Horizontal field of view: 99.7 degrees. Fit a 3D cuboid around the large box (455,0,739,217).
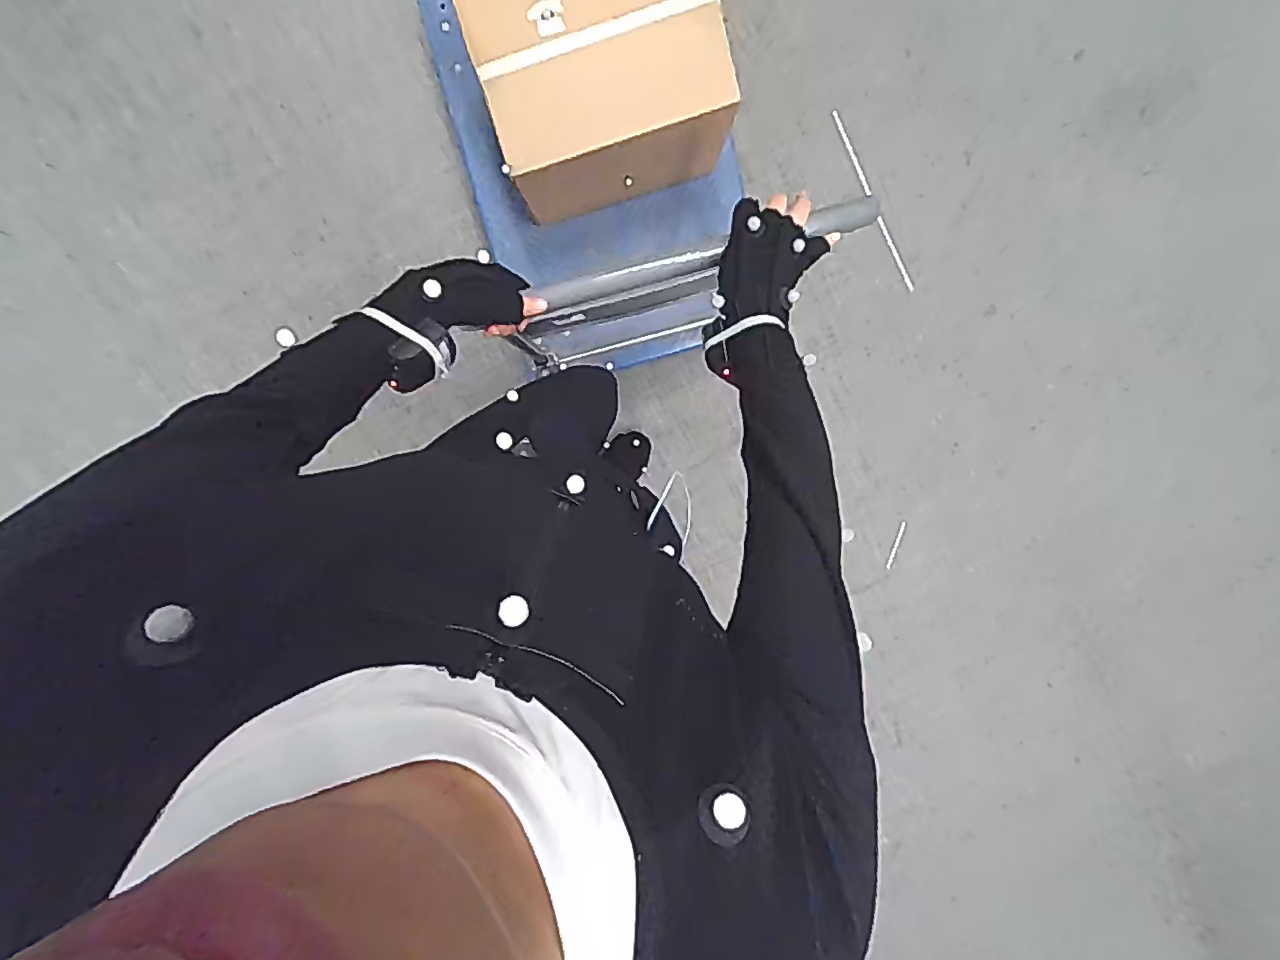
[{"bbox_3d":[-0.072,-0.747,1.010,0.408,0.320,0.320,-17,101,2],"label":"large box"}]
